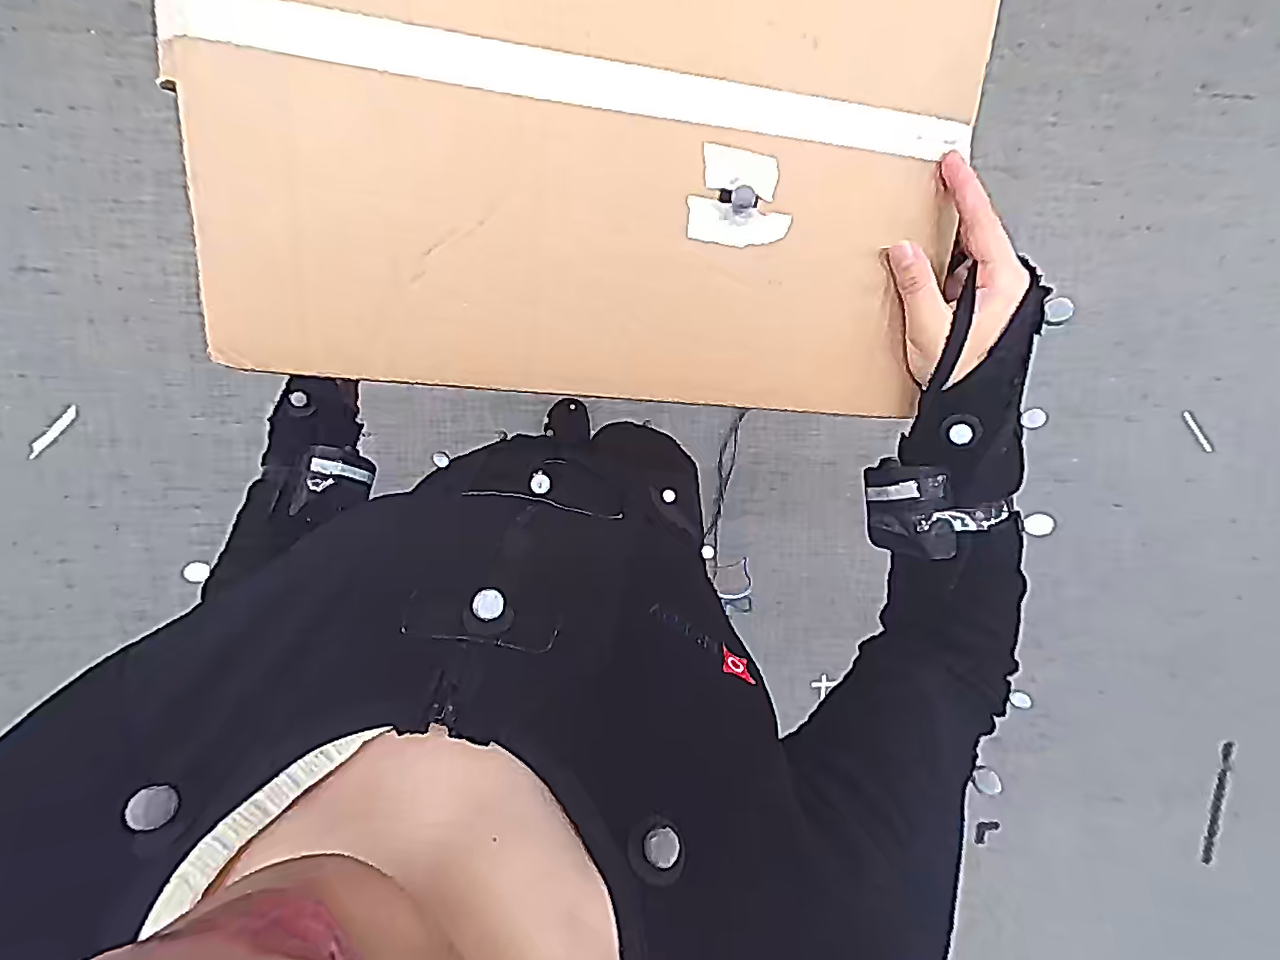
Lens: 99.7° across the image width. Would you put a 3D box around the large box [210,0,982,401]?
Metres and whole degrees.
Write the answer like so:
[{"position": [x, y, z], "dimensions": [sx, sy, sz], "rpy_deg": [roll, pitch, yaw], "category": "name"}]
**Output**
[{"position": [-0.035, -0.241, 0.430], "dimensions": [0.408, 0.320, 0.320], "rpy_deg": [2, 105, -11], "category": "large box"}]
